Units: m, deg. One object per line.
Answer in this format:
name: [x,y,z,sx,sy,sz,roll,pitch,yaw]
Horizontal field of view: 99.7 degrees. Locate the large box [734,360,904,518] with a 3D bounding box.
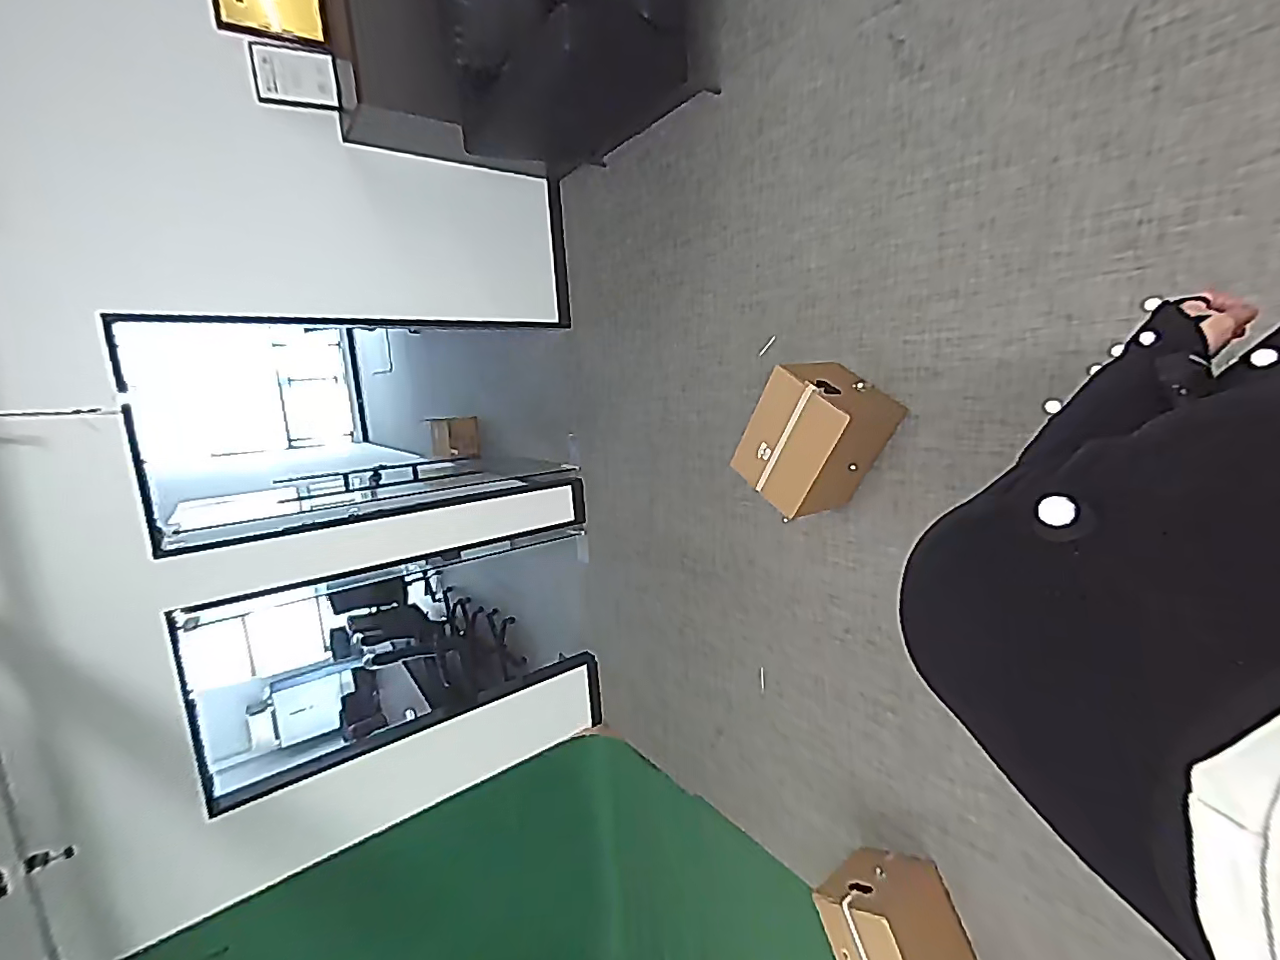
large box: [0.581,-0.147,1.793,0.320,0.320,0.408,49,136,36]
